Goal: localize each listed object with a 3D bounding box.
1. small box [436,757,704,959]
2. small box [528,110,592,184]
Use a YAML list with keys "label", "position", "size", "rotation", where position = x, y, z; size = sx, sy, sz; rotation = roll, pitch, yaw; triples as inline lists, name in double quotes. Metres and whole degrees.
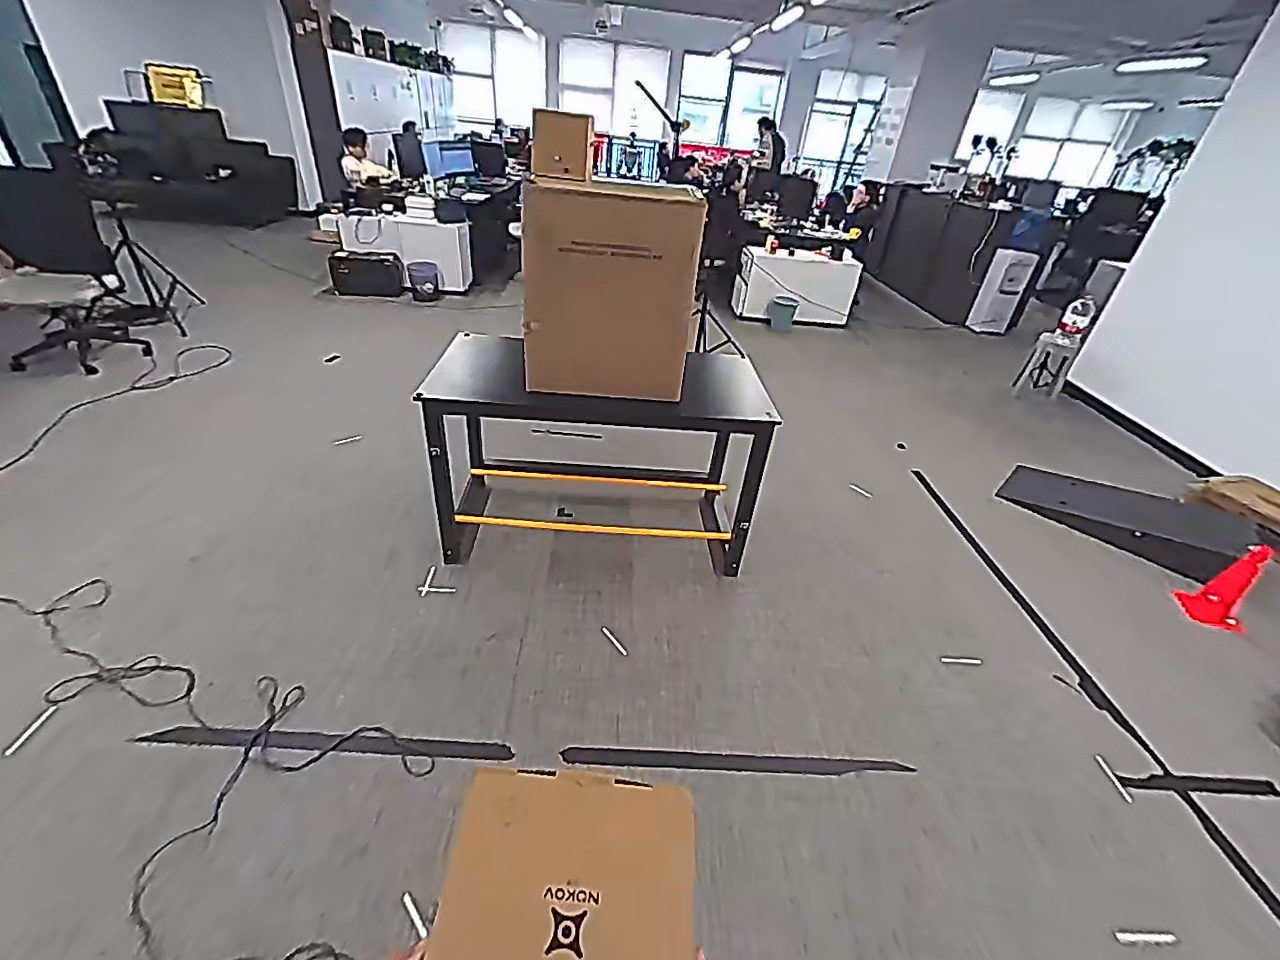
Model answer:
- label: "small box"
  position: [-0.049, 0.337, 0.401]
  size: [0.168, 0.176, 0.179]
  rotation: [7, 42, -2]
- label: "small box"
  position: [-0.241, -1.007, 1.637]
  size: [0.168, 0.176, 0.179]
  rotation: [5, 33, -2]
